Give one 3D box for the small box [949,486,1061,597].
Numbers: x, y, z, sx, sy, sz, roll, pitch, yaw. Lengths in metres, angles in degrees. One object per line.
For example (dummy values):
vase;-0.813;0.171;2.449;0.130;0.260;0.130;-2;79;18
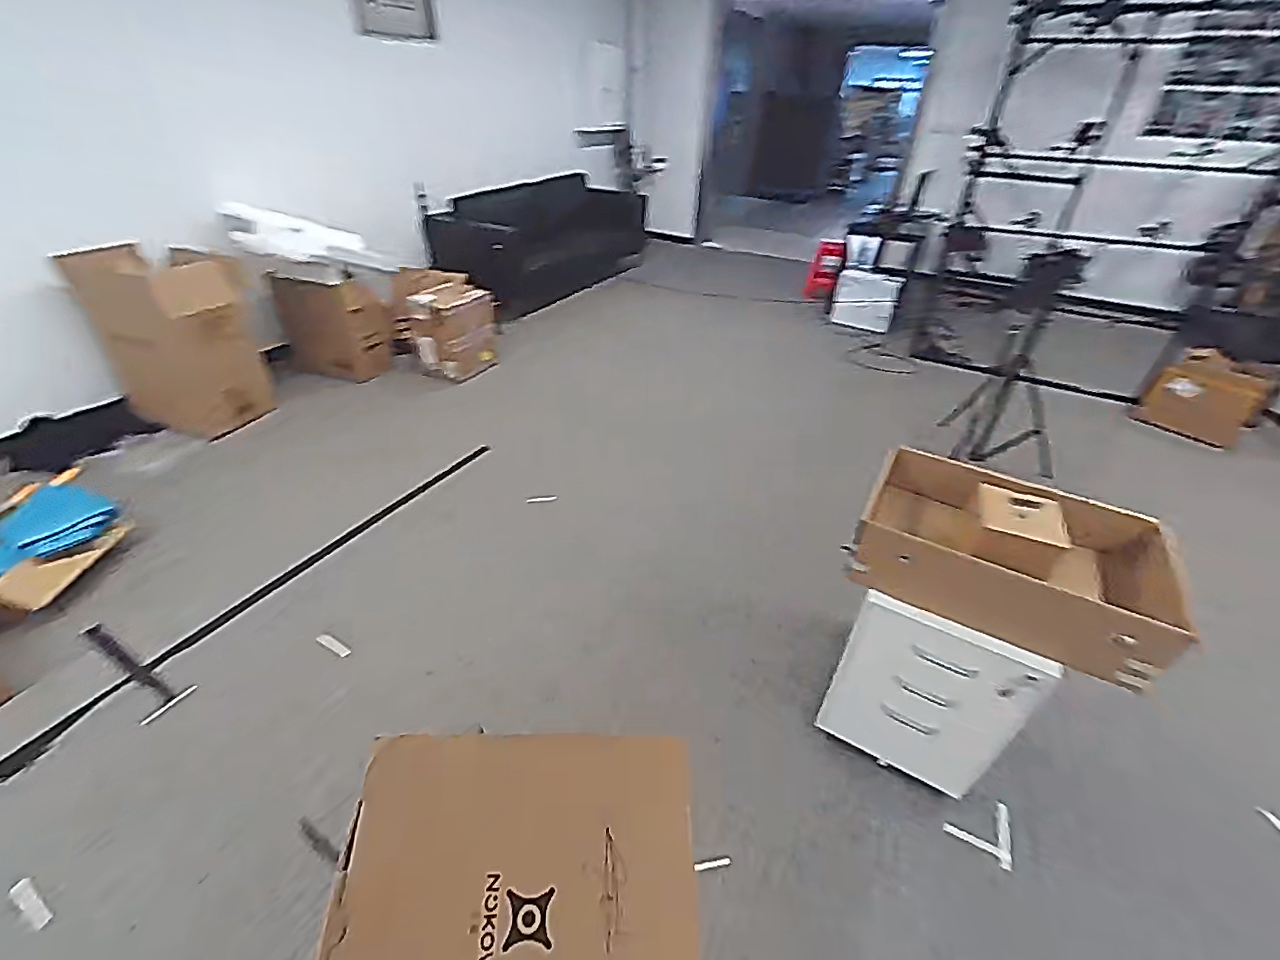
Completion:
small box;0.857;0.145;1.290;0.168;0.176;0.179;15;39;18
